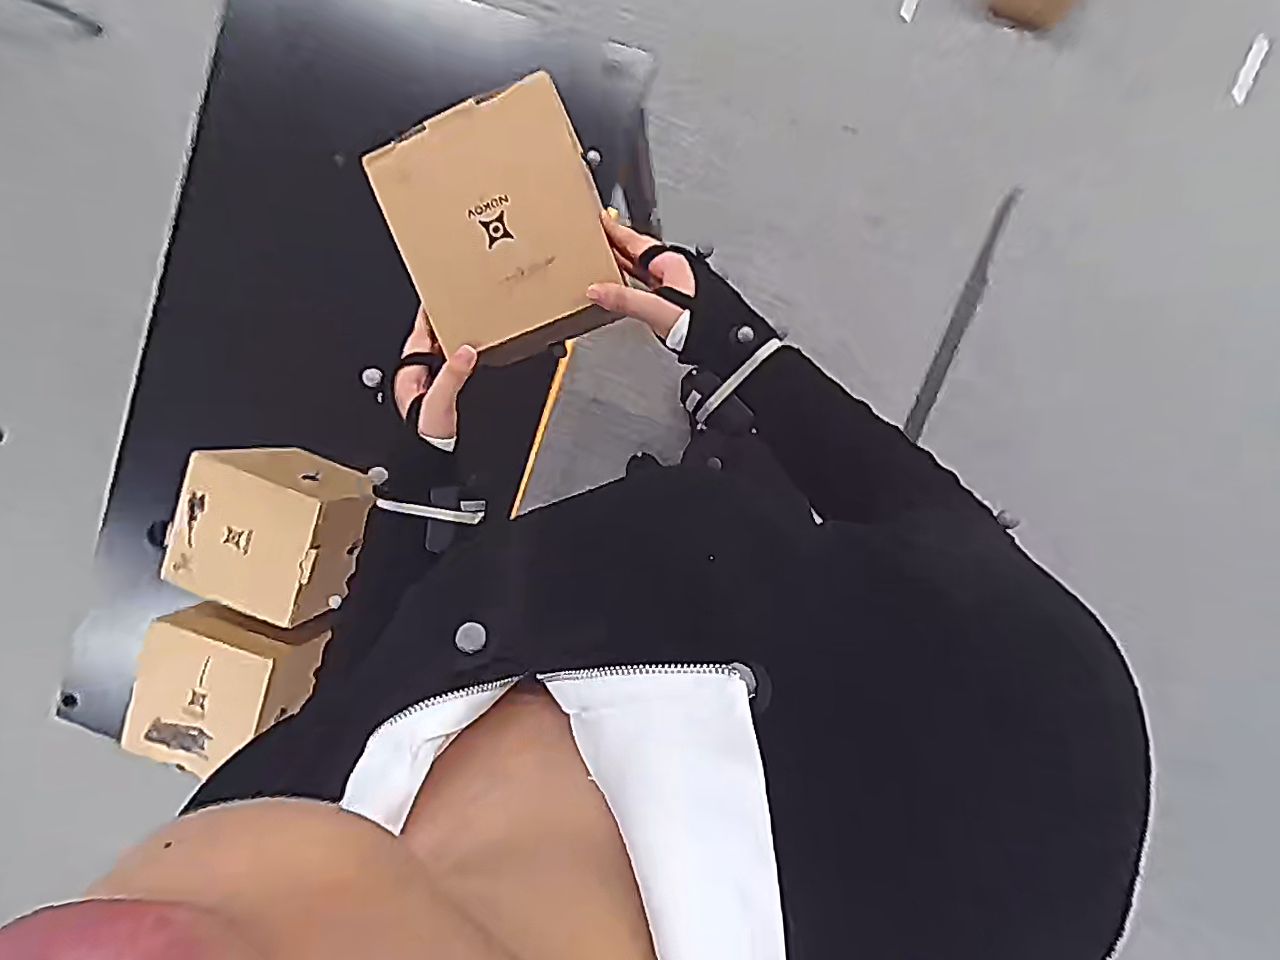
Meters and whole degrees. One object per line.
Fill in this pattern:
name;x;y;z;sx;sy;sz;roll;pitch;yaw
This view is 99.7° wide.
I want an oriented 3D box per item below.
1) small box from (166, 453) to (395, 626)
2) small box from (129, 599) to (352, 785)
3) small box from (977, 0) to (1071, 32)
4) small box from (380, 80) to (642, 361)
small box;-0.464;0.065;0.726;0.179;0.176;0.168;20;96;3
small box;-0.534;0.268;0.747;0.168;0.176;0.179;17;95;3
small box;0.924;-1.184;1.236;0.179;0.176;0.168;21;96;3
small box;-0.104;-0.223;0.521;0.168;0.176;0.179;-19;100;8
